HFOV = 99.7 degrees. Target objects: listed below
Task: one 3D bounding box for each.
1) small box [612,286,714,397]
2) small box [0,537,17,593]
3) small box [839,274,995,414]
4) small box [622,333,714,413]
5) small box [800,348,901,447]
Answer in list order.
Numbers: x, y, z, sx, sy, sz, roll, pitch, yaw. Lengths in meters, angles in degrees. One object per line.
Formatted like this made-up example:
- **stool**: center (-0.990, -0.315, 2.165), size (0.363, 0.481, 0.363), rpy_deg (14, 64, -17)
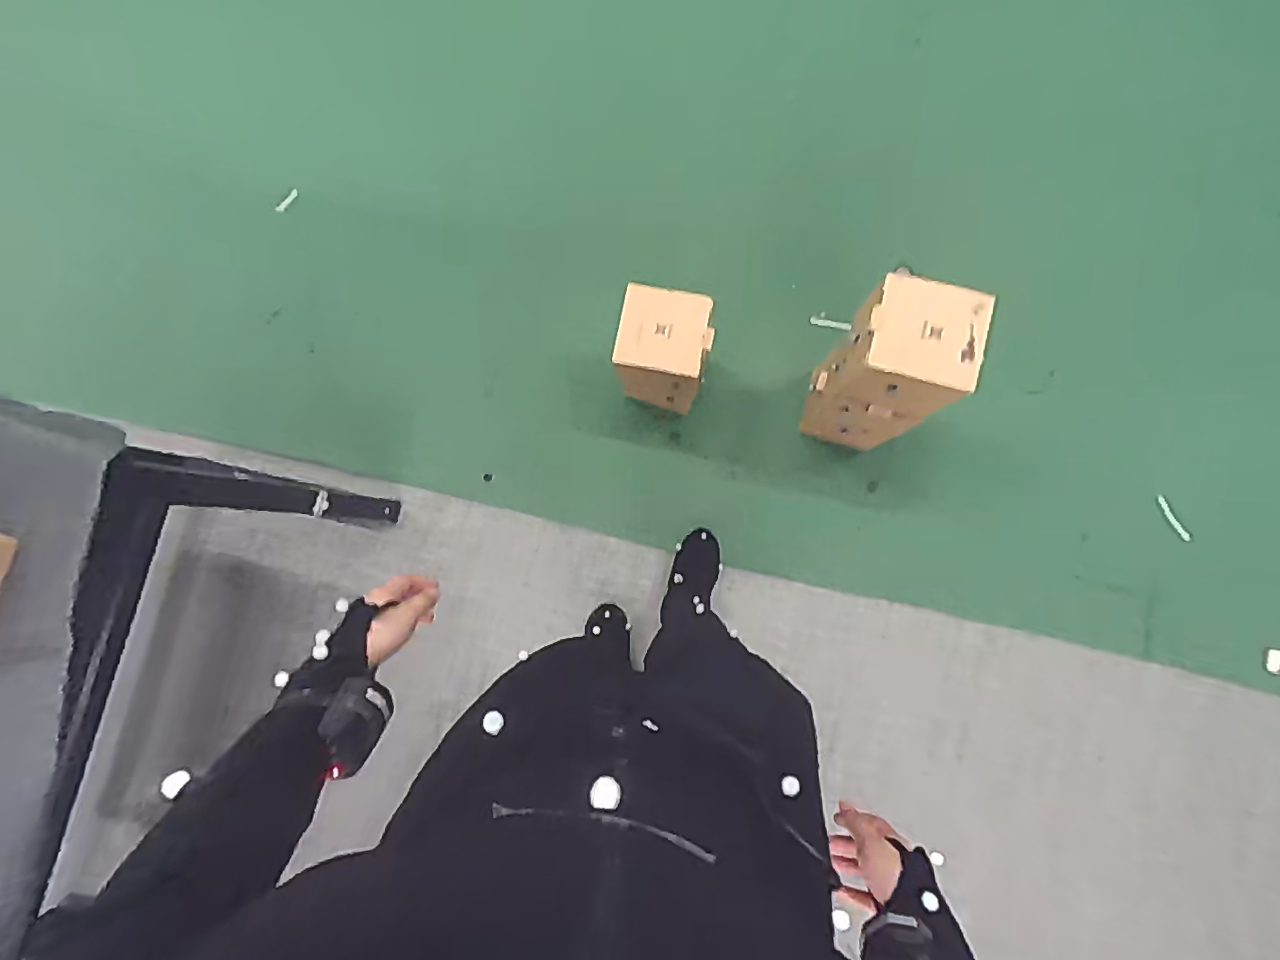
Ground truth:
- **small box**: center (0.050, -0.281, 1.134), size (0.179, 0.176, 0.168), rpy_deg (11, 84, 5)
- **small box**: center (-0.840, 0.116, 0.559), size (0.179, 0.176, 0.168), rpy_deg (18, 85, 7)
- **small box**: center (0.467, -0.226, 0.939), size (0.179, 0.176, 0.168), rpy_deg (16, 84, 6)
- **small box**: center (0.063, -0.273, 1.296), size (0.179, 0.176, 0.168), rpy_deg (19, 85, 5)
- **small box**: center (0.496, -0.184, 1.264), size (0.179, 0.176, 0.168), rpy_deg (17, 85, 5)
